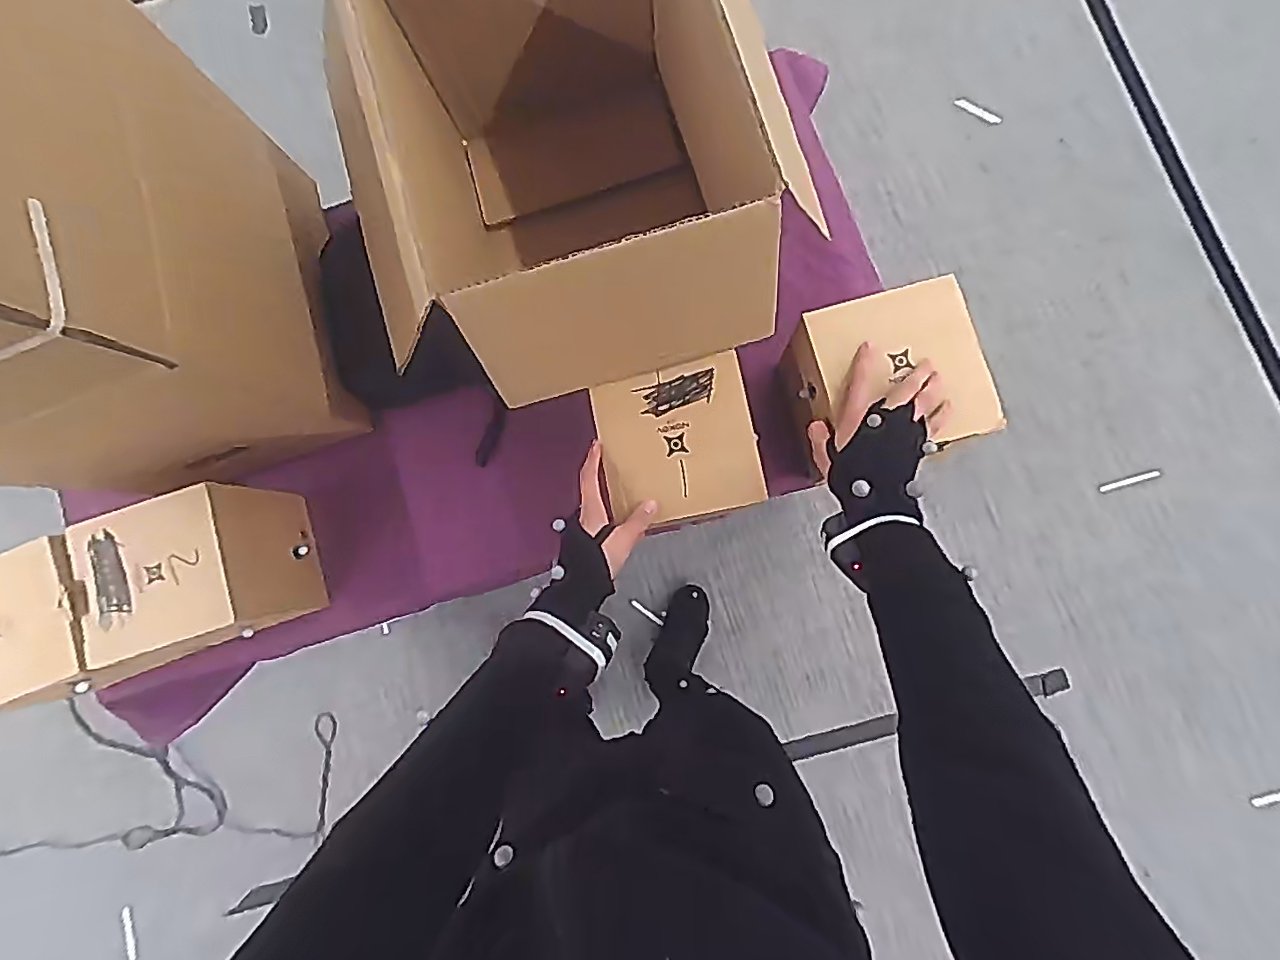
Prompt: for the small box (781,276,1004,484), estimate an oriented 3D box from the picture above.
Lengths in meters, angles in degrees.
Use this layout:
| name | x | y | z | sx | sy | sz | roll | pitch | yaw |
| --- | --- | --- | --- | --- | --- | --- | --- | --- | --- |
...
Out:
| name | x | y | z | sx | sy | sz | roll | pitch | yaw |
| --- | --- | --- | --- | --- | --- | --- | --- | --- | --- |
| small box | 0.278 | -0.105 | 0.641 | 0.168 | 0.176 | 0.179 | -15 | 82 | 4 |
